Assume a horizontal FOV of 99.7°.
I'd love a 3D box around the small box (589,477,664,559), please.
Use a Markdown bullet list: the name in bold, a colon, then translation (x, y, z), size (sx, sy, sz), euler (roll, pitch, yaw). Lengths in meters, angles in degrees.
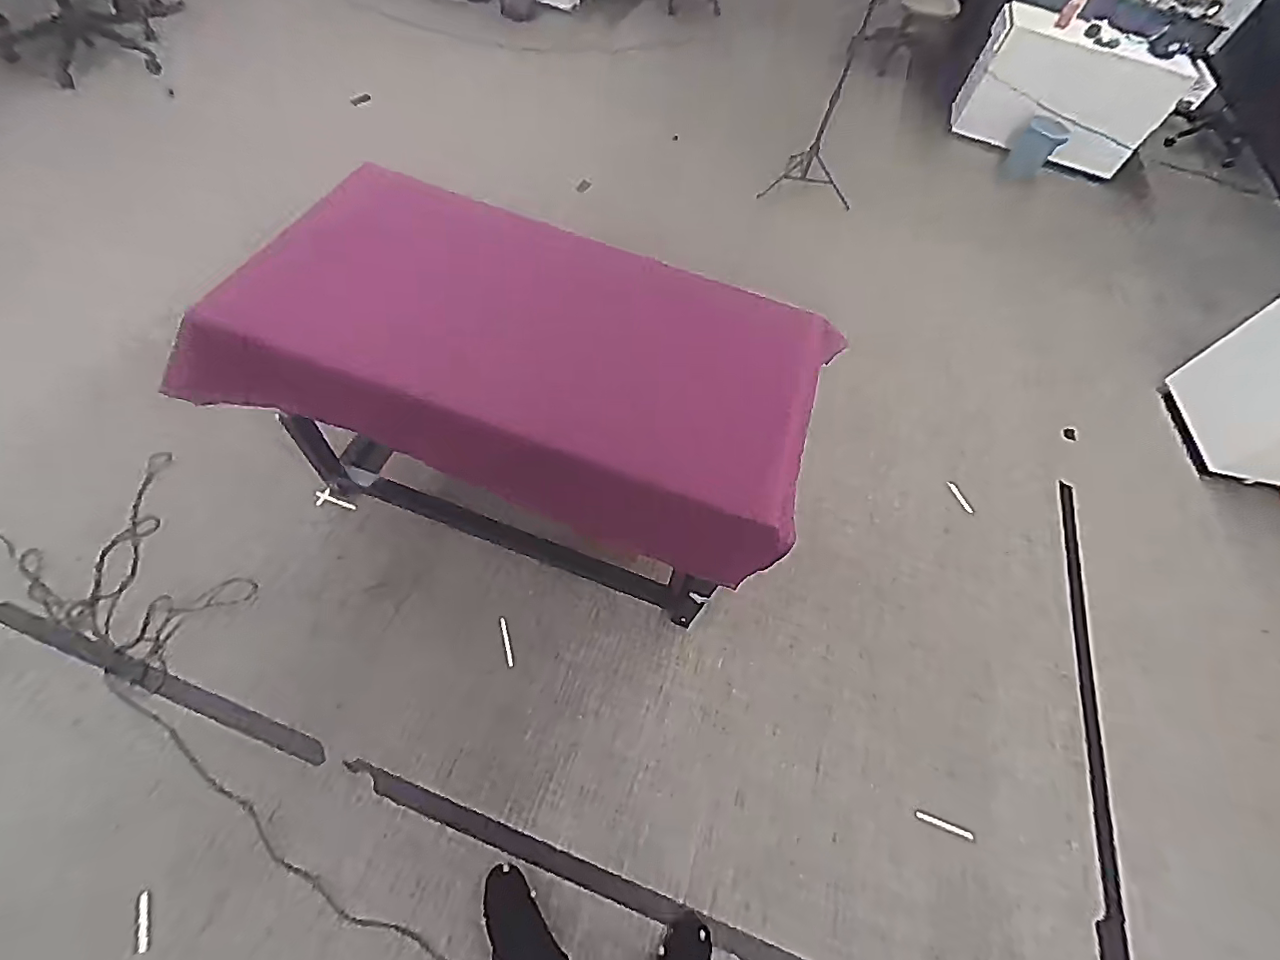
- **small box**: translation (-0.045, 0.124, 1.672), size (0.179, 0.176, 0.168), euler (21, 58, 5)
